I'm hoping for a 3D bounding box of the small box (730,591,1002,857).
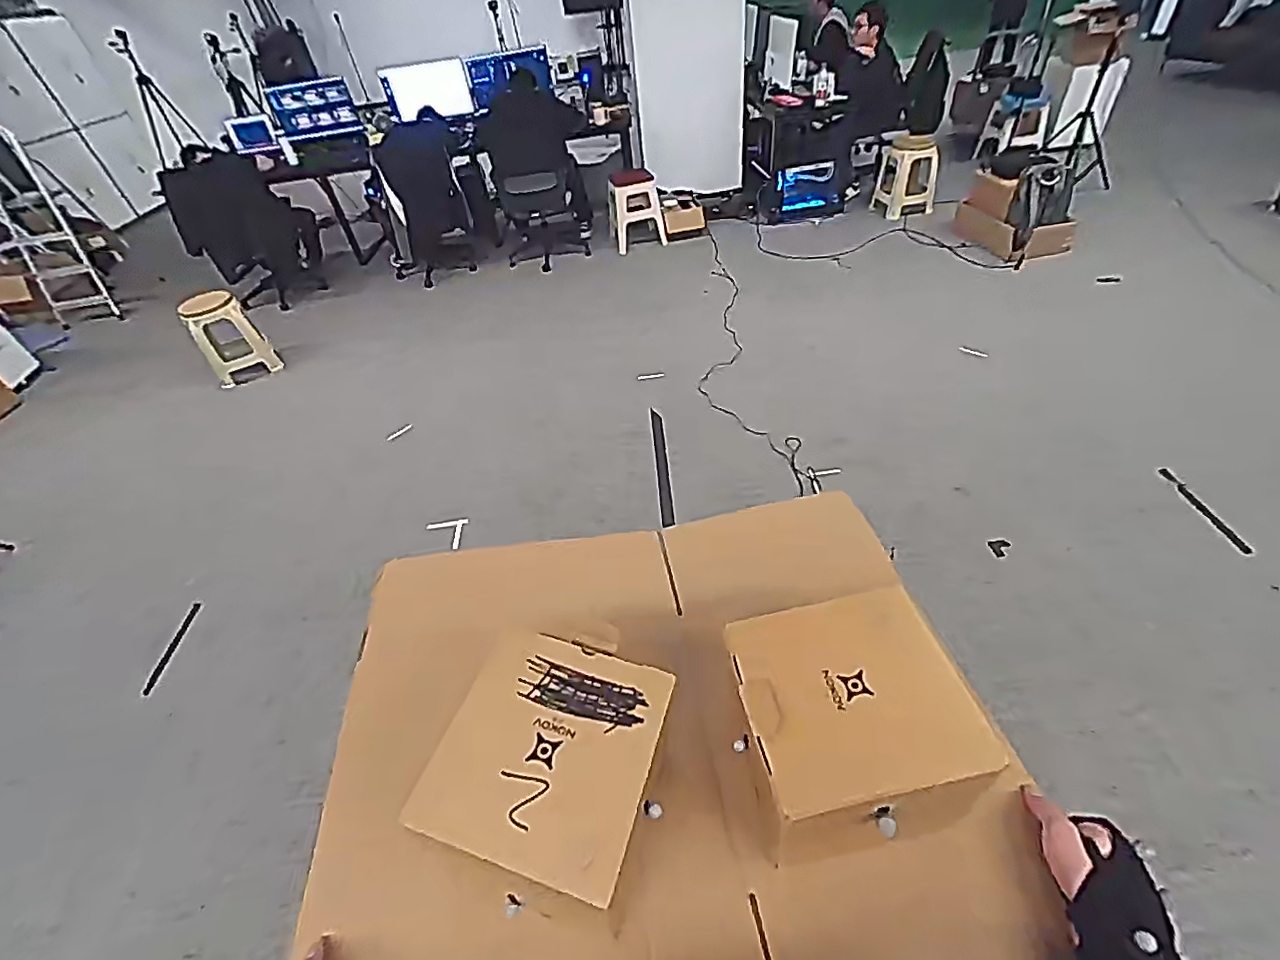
[{"bbox_3d":[0.193,0.236,0.523,0.179,0.176,0.168,-13,43,0],"label":"small box"}]
